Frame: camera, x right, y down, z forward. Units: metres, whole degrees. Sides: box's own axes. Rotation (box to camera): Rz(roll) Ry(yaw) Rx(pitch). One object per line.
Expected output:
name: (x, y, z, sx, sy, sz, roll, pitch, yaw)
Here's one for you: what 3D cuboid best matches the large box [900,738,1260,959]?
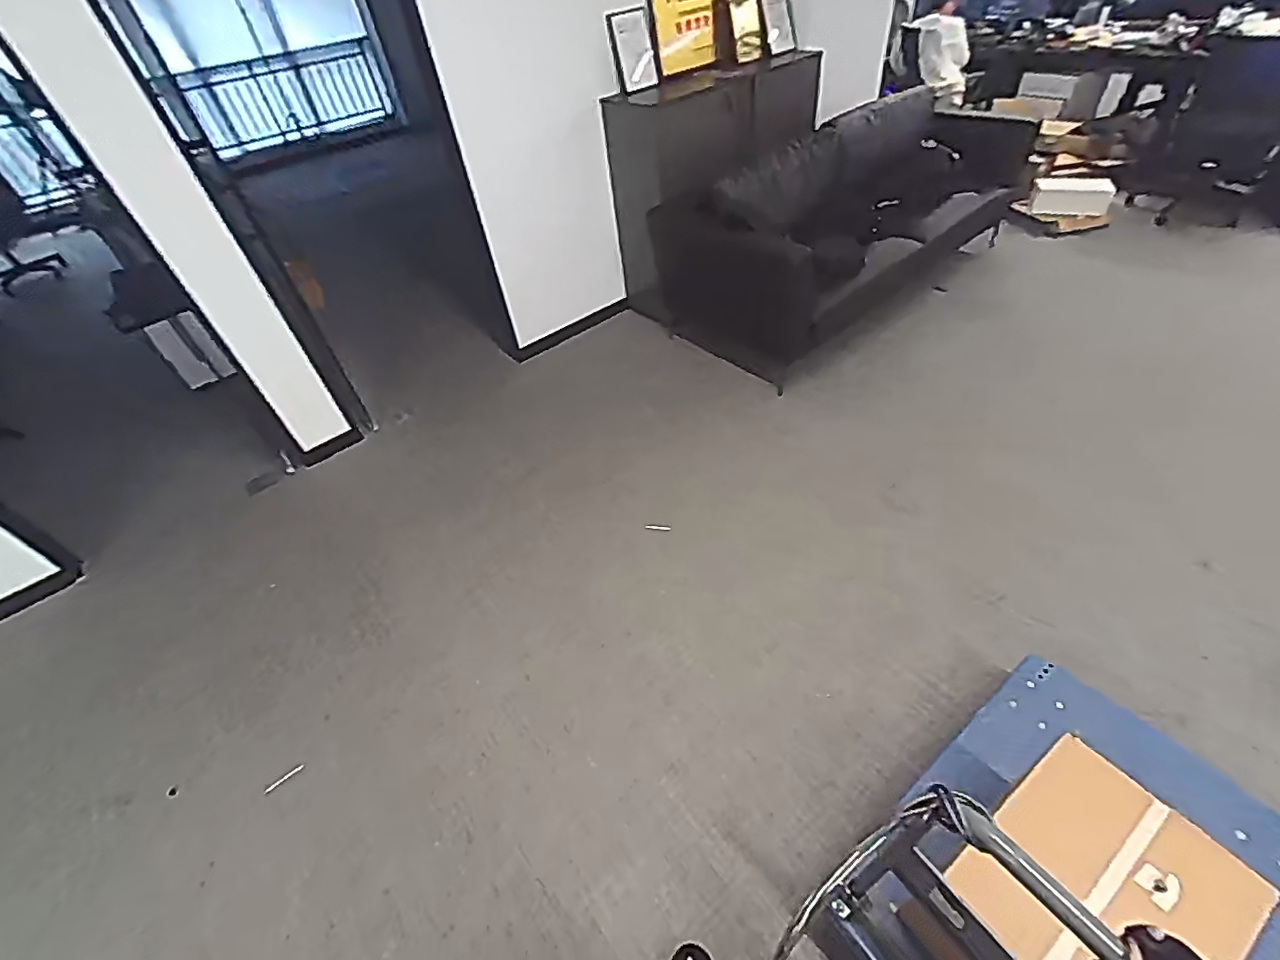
large box: (0.749, 0.773, 0.972, 0.408, 0.320, 0.320, -29, 47, -22)
